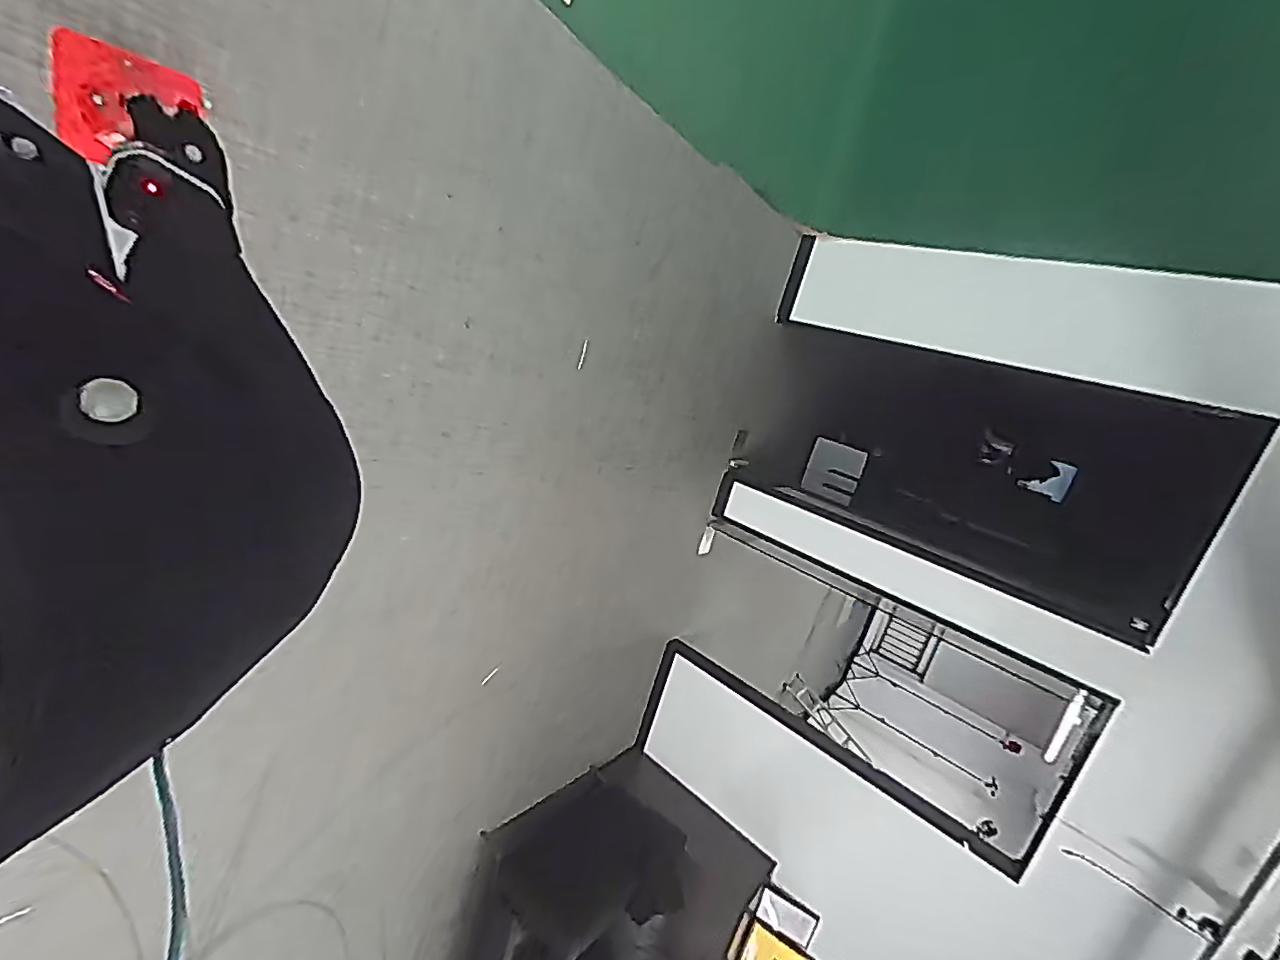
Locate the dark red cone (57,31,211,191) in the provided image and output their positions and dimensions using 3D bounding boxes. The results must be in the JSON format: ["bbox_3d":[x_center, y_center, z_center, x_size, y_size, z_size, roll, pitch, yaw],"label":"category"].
[{"bbox_3d":[-0.778,-0.597,0.879,0.202,0.394,0.201,-8,116,-50],"label":"dark red cone"}]
